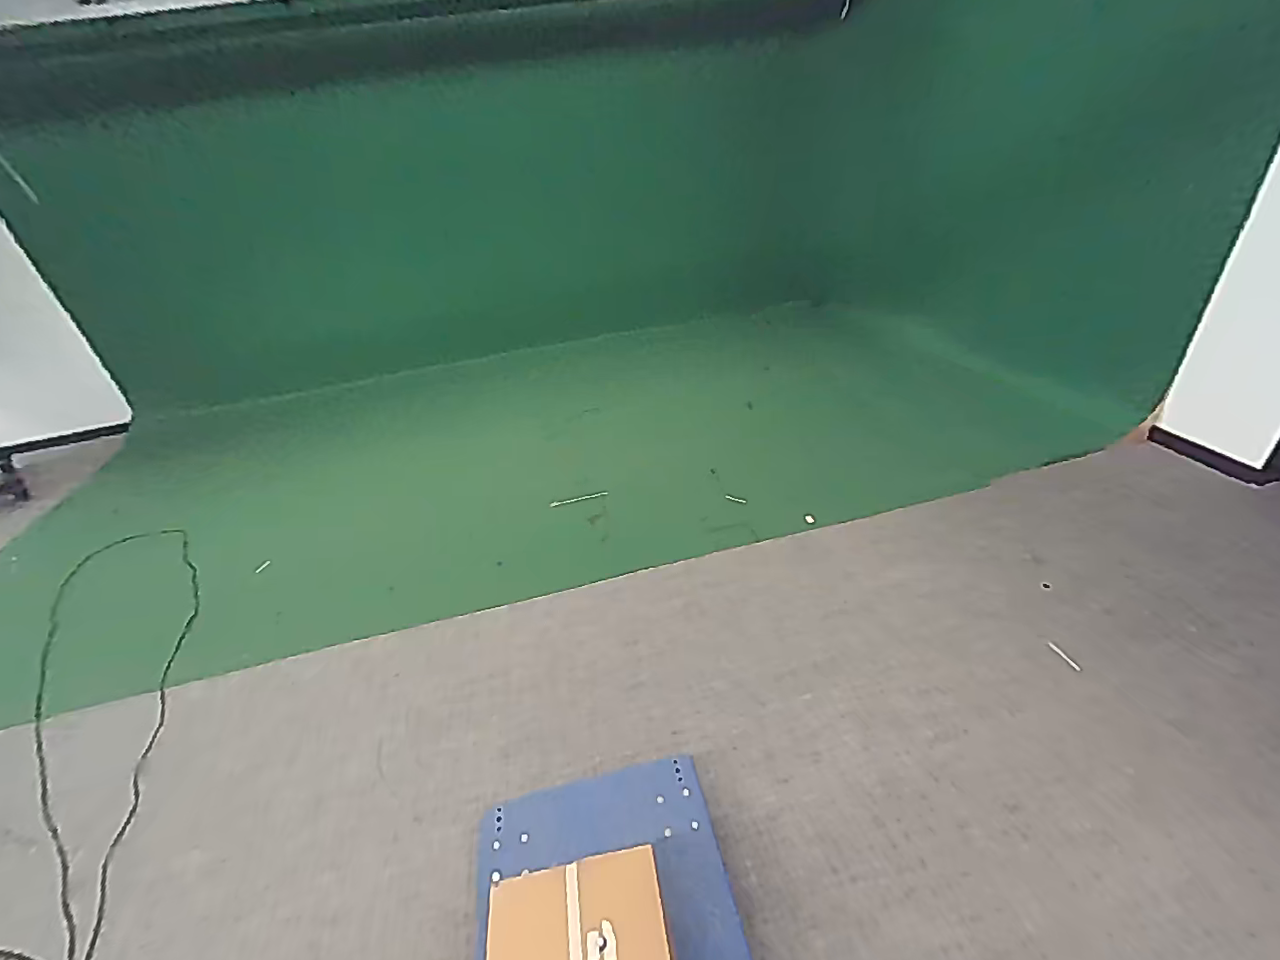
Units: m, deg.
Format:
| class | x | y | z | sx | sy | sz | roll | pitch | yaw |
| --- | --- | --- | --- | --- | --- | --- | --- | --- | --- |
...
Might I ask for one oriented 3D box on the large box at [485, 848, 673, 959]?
| class | x | y | z | sx | sy | sz | roll | pitch | yaw |
| --- | --- | --- | --- | --- | --- | --- | --- | --- | --- |
| large box | -0.083 | 0.965 | 0.946 | 0.320 | 0.320 | 0.408 | -10 | 32 | -4 |
